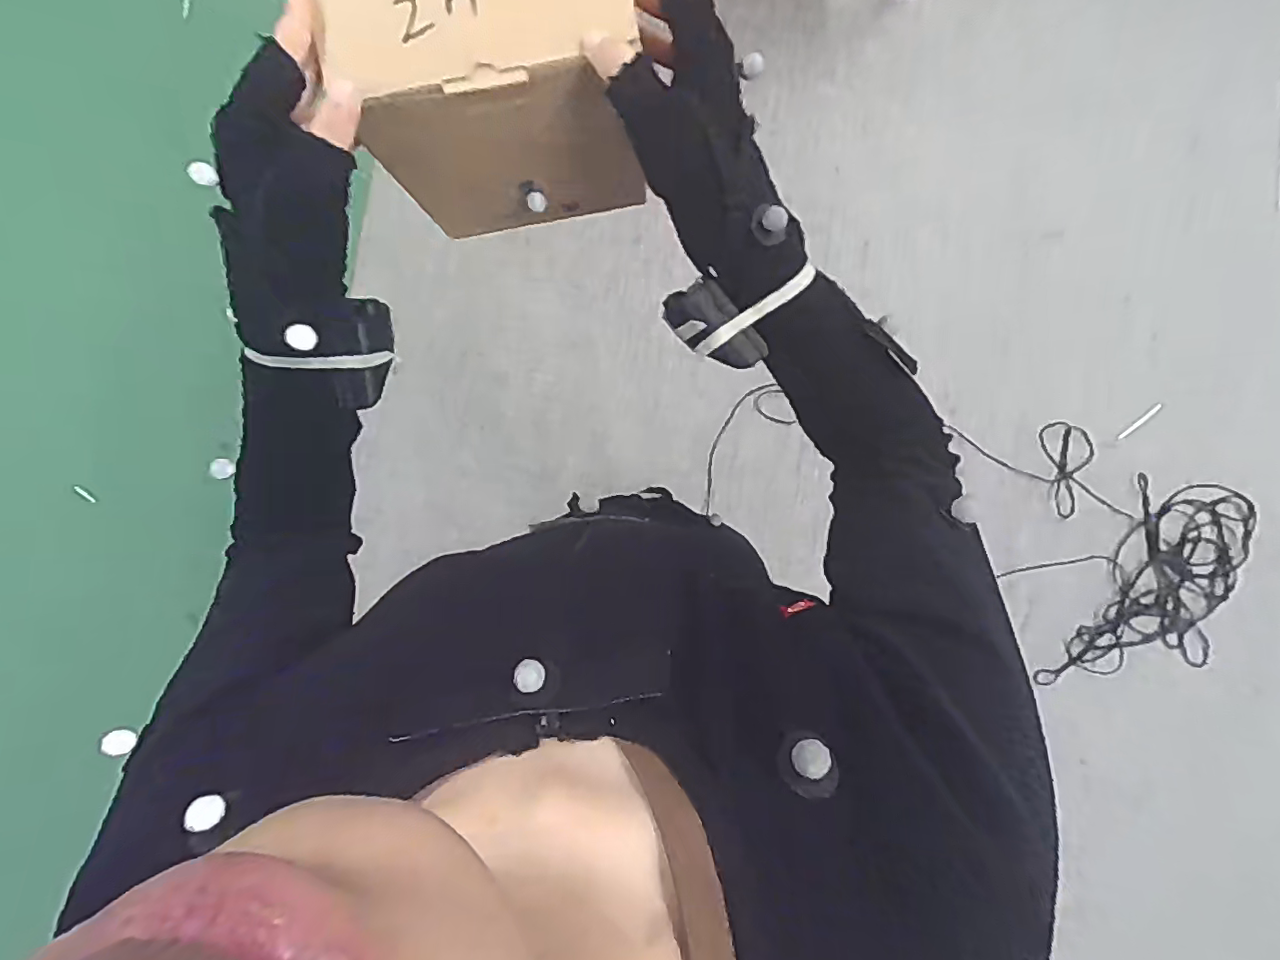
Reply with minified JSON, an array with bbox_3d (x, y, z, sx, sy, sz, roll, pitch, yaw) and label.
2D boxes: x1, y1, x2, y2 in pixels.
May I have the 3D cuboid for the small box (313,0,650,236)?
[{"bbox_3d":[-0.086,-0.290,0.351,0.168,0.176,0.179,-8,90,3],"label":"small box"}]

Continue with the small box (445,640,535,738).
[{"bbox_3d":[-0.379,0.531,1.396,0.168,0.176,0.179,9,86,4],"label":"small box"}]
